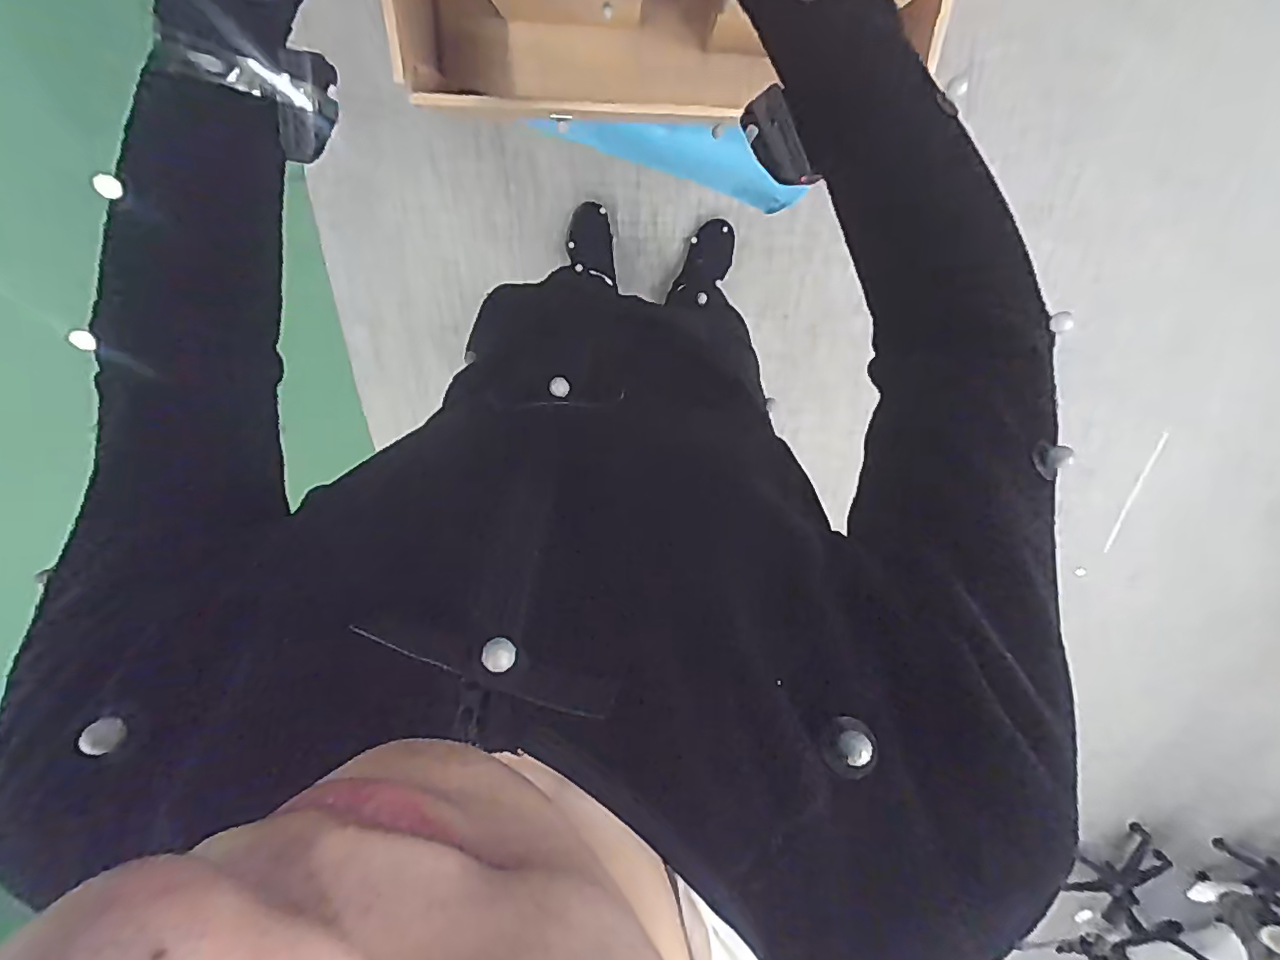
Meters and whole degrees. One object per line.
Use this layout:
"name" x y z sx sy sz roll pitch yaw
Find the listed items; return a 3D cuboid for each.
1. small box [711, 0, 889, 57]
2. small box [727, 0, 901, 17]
"small box" 0.176 -0.587 0.594 0.179 0.176 0.168 3 118 0
"small box" 0.173 -0.514 0.447 0.179 0.176 0.168 2 117 1
